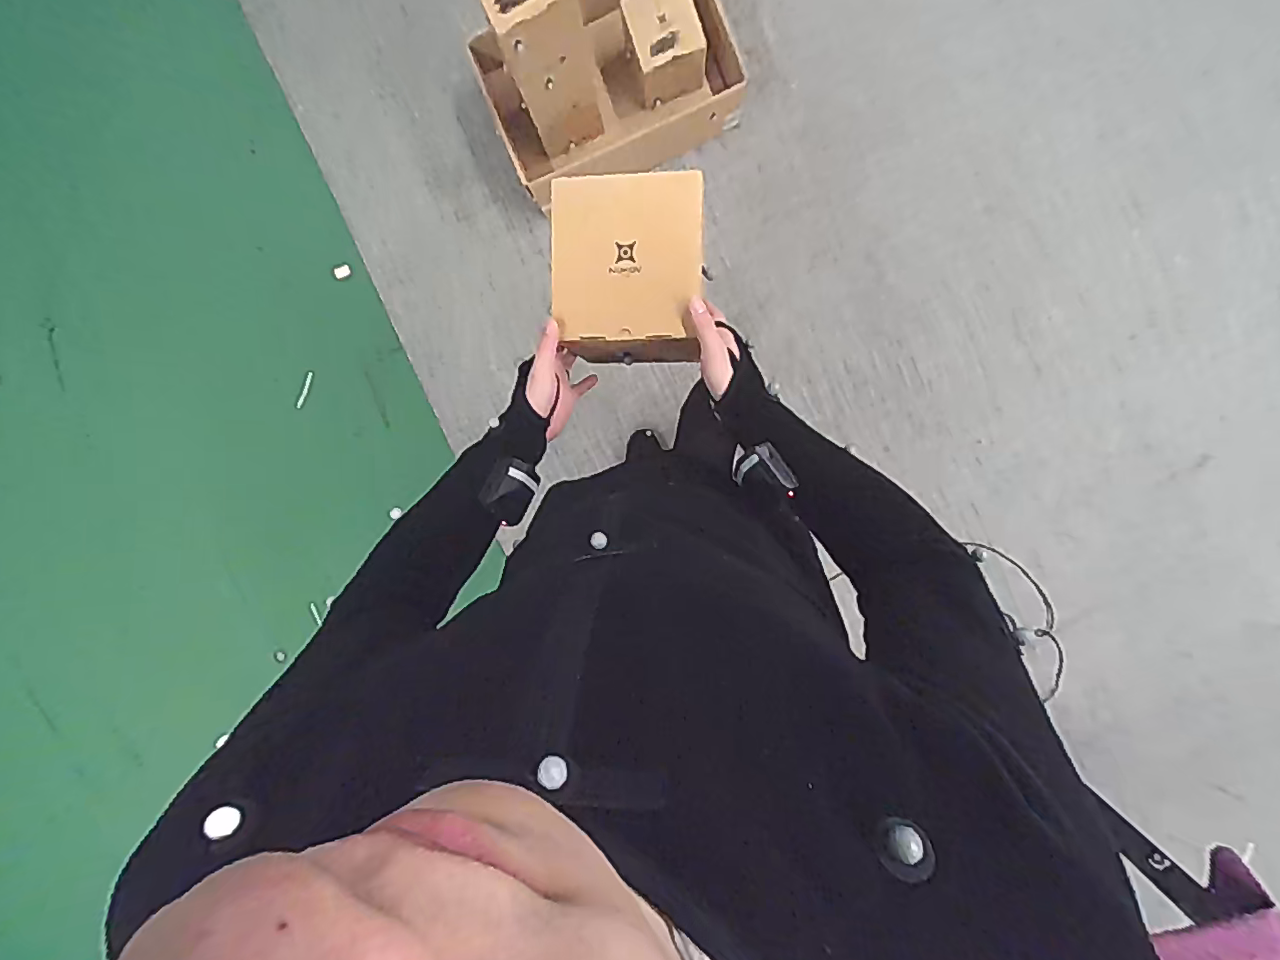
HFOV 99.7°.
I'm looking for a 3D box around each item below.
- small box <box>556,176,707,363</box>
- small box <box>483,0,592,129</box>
[{"bbox_3d":[-0.004,-0.244,0.666,0.168,0.176,0.179,1,96,6],"label":"small box"},{"bbox_3d":[-0.226,-0.958,1.236,0.168,0.176,0.179,-26,94,6],"label":"small box"}]
